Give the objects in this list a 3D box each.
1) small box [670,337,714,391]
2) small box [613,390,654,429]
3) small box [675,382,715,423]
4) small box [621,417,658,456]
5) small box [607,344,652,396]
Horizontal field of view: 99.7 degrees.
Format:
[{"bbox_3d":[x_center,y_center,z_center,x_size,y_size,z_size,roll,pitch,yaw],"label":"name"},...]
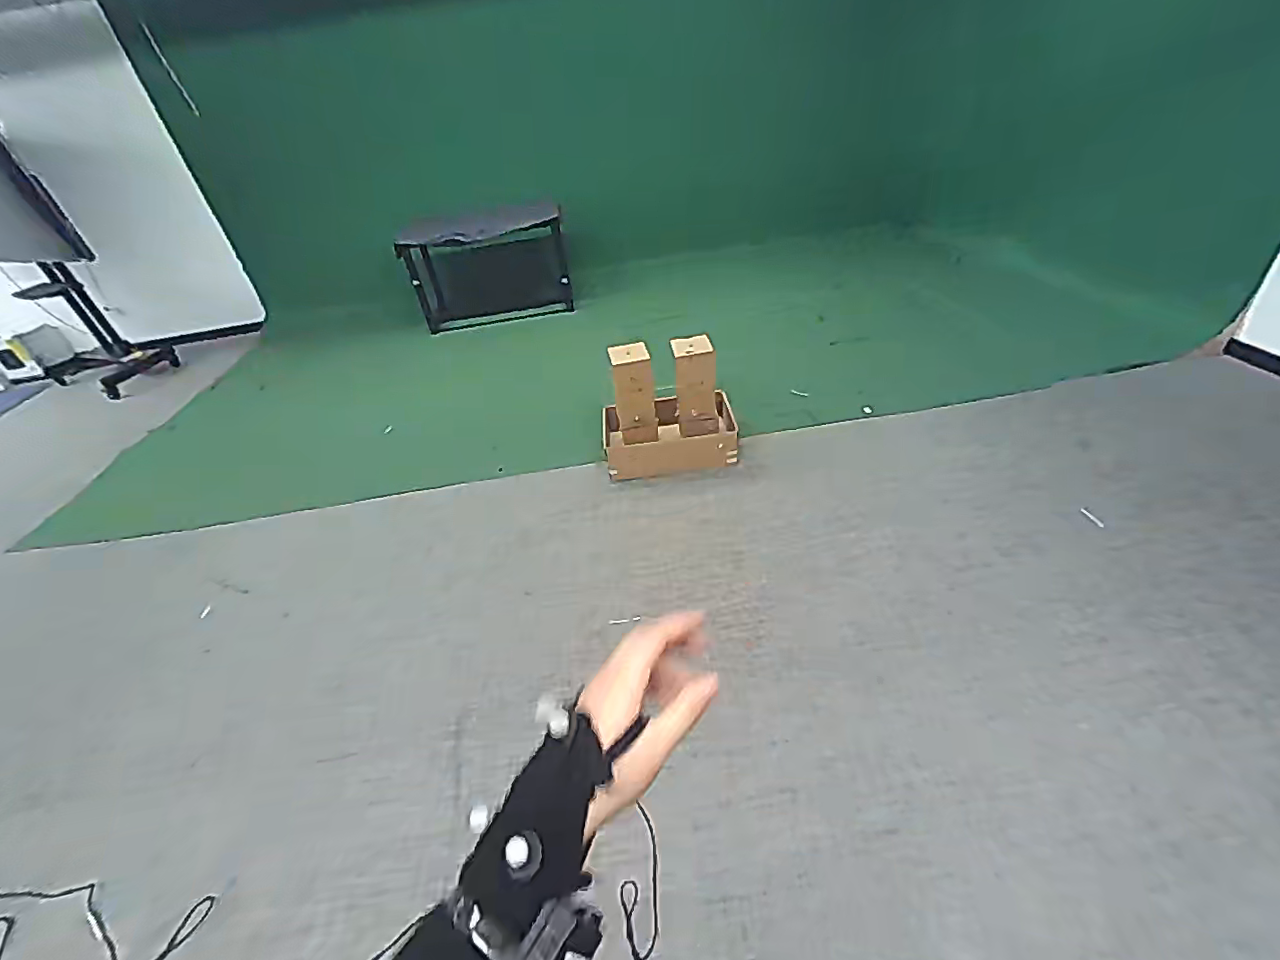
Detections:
[{"bbox_3d":[0.230,-0.513,2.394,0.168,0.176,0.179,-9,37,1],"label":"small box"},{"bbox_3d":[-0.032,-0.358,2.516,0.168,0.176,0.179,-11,40,-4],"label":"small box"},{"bbox_3d":[0.252,-0.384,2.495,0.168,0.176,0.179,-8,39,3],"label":"small box"},{"bbox_3d":[-0.008,-0.237,2.626,0.168,0.176,0.179,-10,38,-3],"label":"small box"},{"bbox_3d":[-0.046,-0.485,2.412,0.168,0.176,0.179,-10,38,-5],"label":"small box"}]
